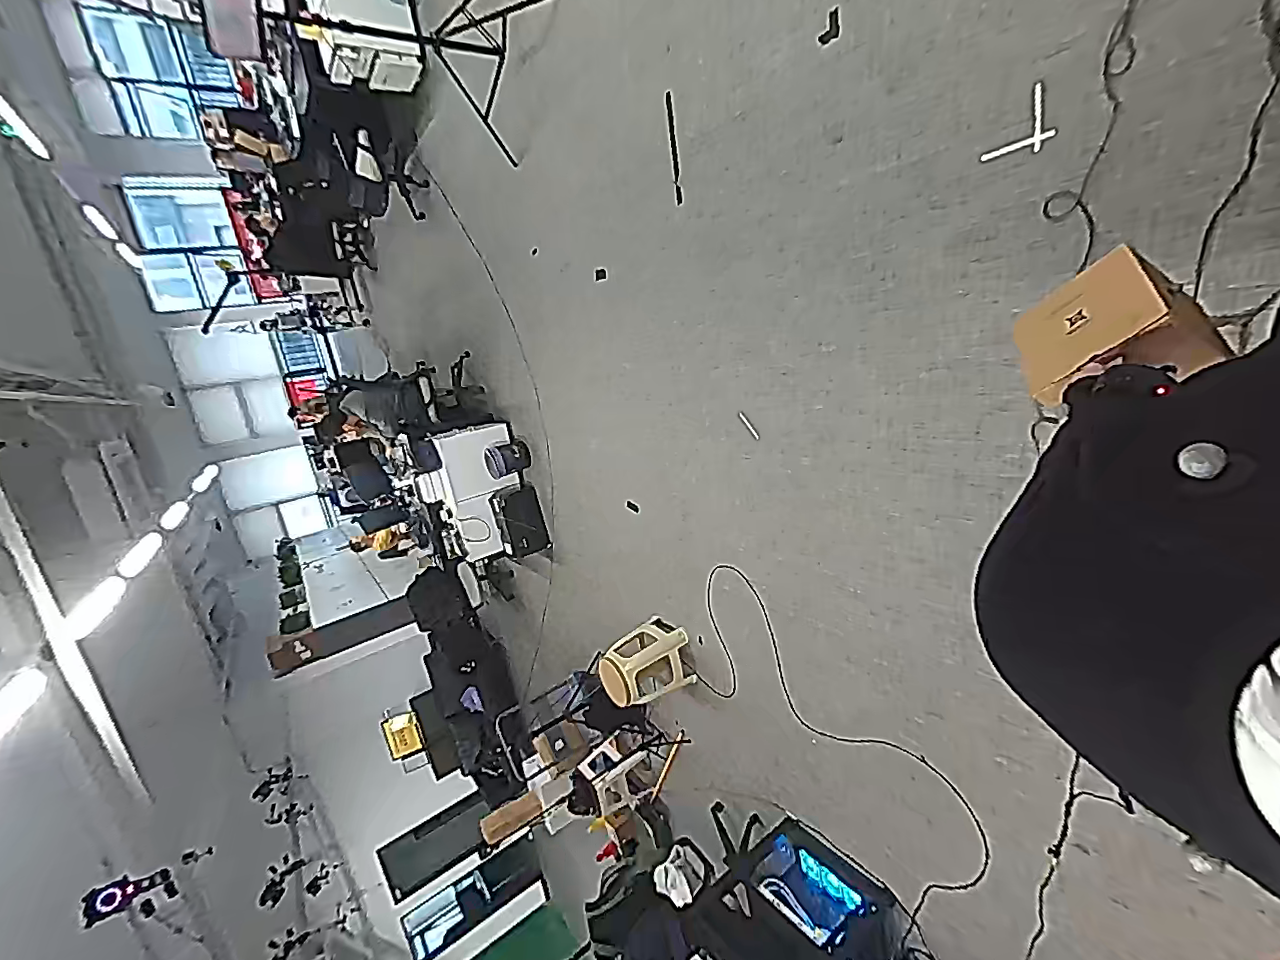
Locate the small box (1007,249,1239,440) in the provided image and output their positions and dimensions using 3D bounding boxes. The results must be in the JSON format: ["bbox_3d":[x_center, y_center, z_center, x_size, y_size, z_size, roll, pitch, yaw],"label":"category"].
[{"bbox_3d":[0.669,-0.178,0.763,0.176,0.179,0.168,29,141,-14],"label":"small box"}]
